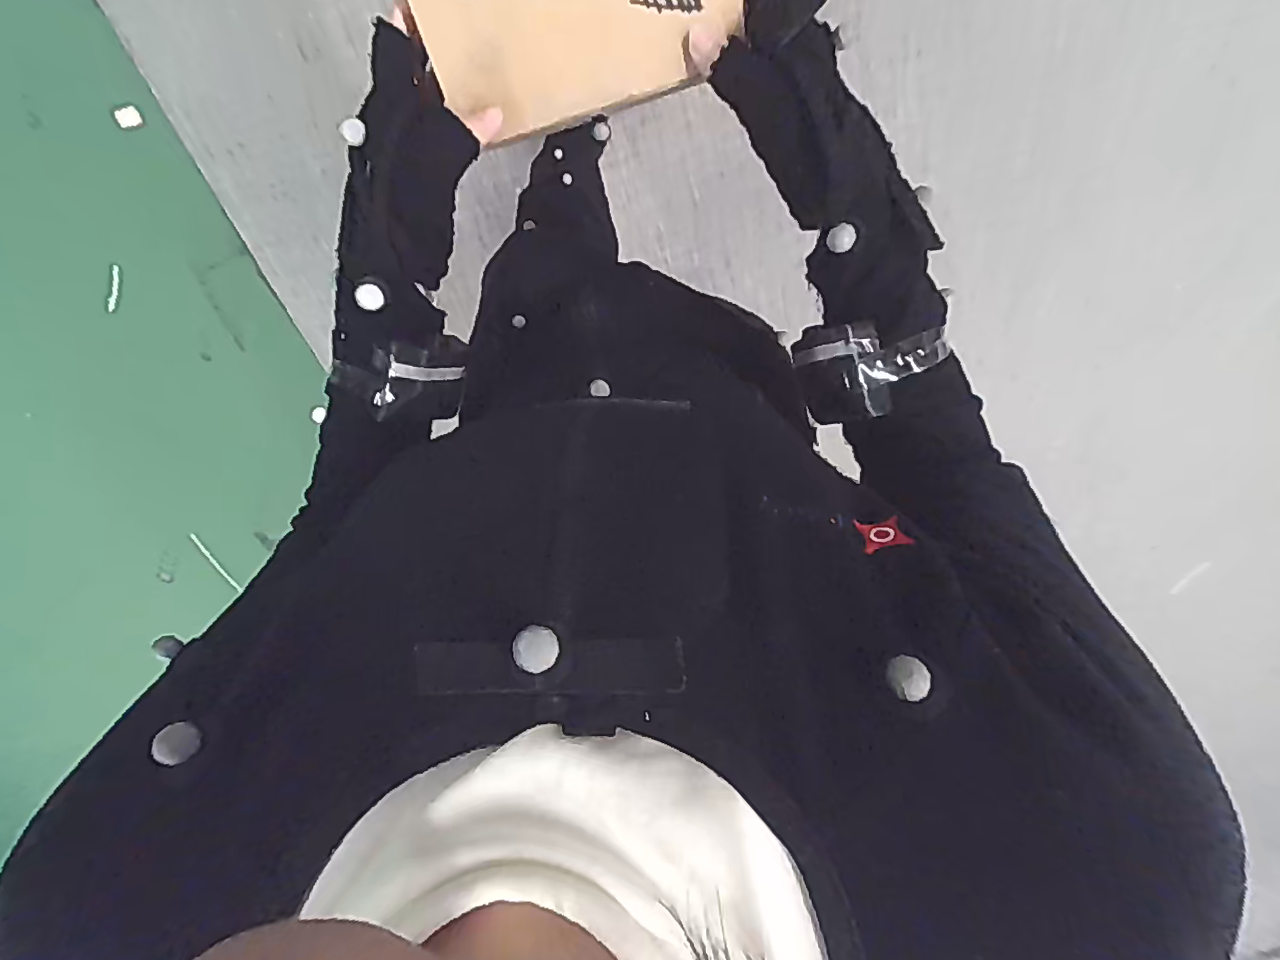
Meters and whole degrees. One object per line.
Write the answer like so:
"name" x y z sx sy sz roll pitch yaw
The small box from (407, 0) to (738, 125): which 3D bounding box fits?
"small box" -0.046 -0.336 0.335 0.179 0.176 0.168 -10 121 7
